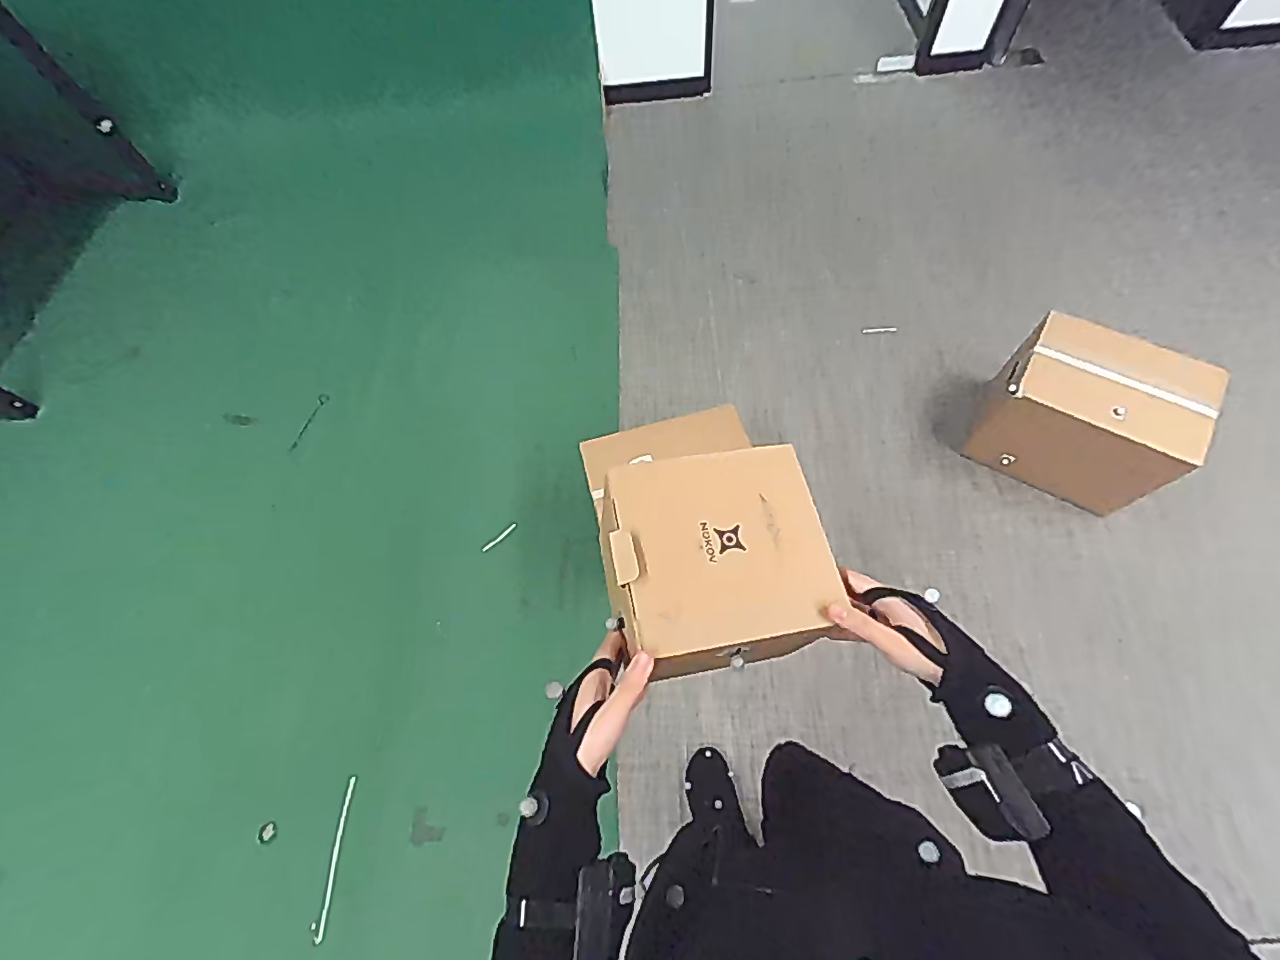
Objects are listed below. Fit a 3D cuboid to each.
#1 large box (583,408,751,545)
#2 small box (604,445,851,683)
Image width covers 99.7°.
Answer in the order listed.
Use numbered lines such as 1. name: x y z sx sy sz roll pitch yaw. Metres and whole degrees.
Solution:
1. large box: 0.100 0.065 1.416 0.408 0.320 0.320 -16 63 -2
2. small box: 0.062 0.087 0.514 0.179 0.176 0.168 -7 64 -9
